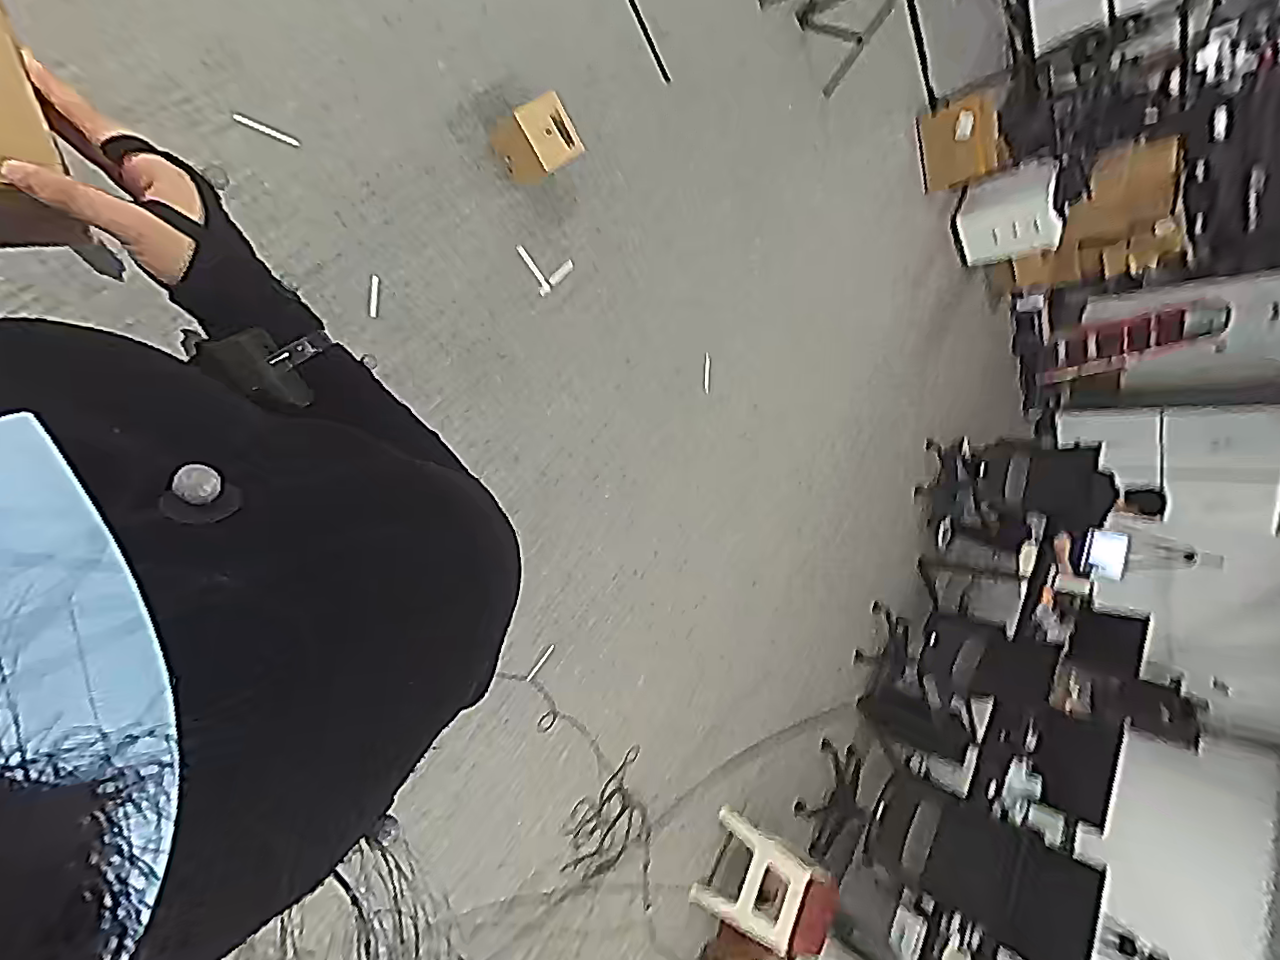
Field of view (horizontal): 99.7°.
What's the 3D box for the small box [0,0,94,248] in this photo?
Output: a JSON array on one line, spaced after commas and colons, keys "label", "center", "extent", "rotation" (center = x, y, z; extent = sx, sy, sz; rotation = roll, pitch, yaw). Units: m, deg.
[{"label": "small box", "center": [-0.457, -0.244, 0.309], "extent": [0.168, 0.176, 0.179], "rotation": [-20, 109, -38]}]
